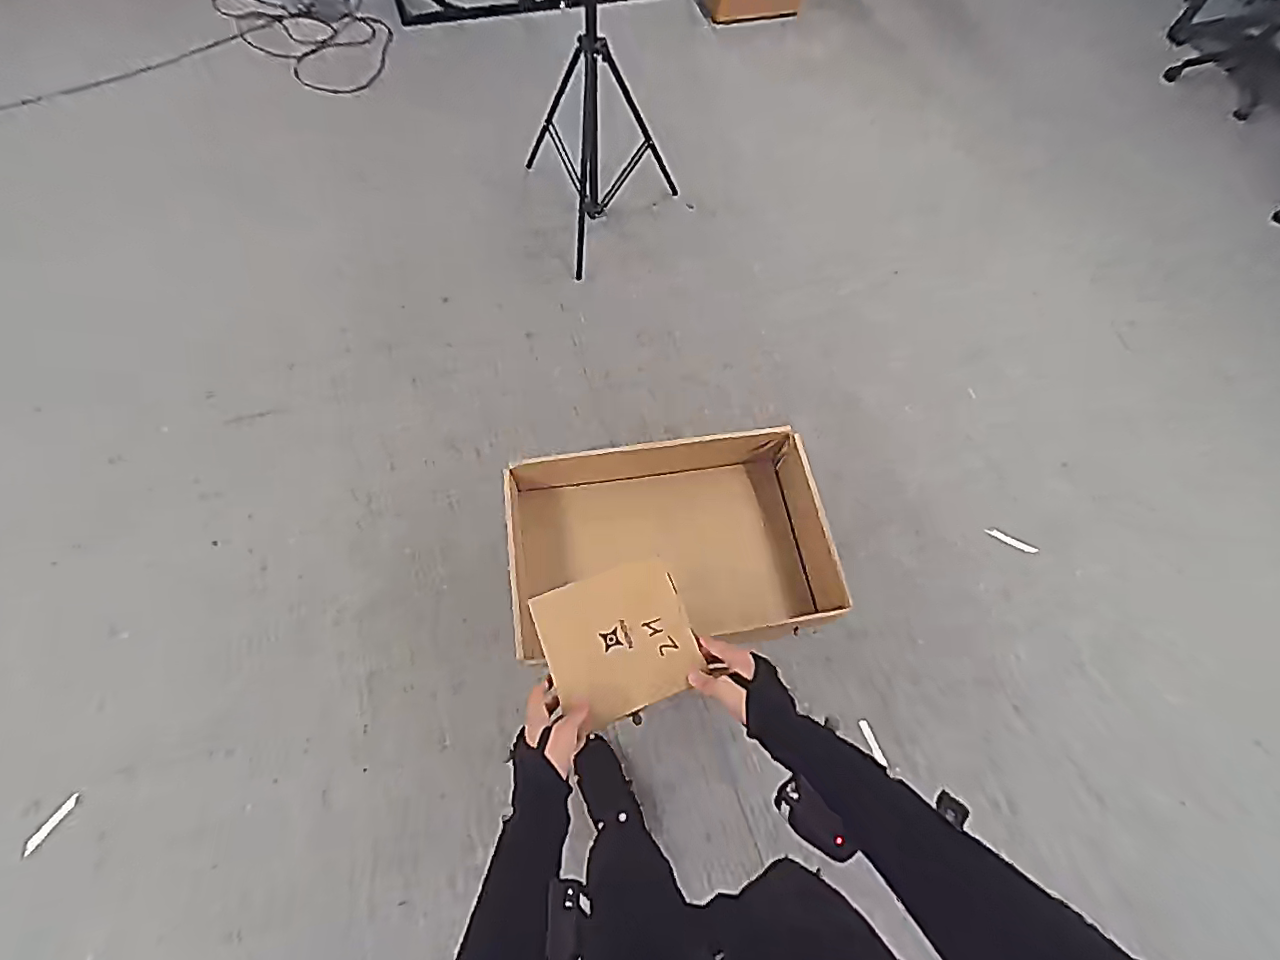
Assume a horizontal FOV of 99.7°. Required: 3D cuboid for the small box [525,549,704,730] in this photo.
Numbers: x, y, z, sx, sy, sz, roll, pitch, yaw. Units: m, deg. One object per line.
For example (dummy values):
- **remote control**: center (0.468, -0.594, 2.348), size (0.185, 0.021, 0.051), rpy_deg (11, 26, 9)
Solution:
- **small box**: center (-0.035, 0.215, 0.715), size (0.179, 0.176, 0.168), rpy_deg (-19, 70, -10)
